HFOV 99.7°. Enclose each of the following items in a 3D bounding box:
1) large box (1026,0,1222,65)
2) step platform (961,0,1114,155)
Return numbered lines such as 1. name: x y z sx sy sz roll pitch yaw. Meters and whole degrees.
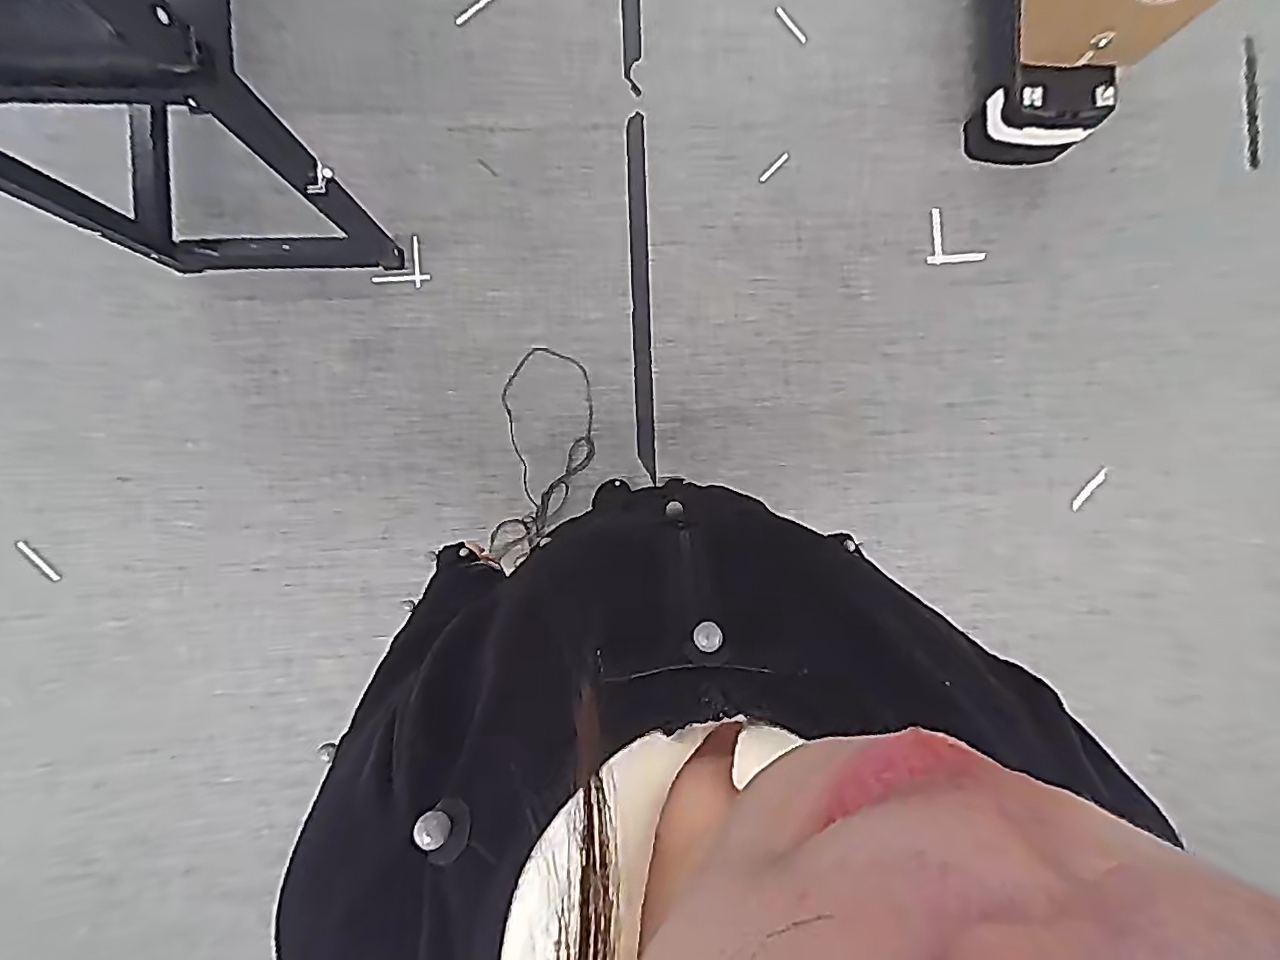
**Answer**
1. large box: 1.113 -1.234 1.205 0.320 0.320 0.408 -2 90 -4
2. step platform: 1.072 -1.267 1.440 0.286 0.204 0.684 3 90 -3
